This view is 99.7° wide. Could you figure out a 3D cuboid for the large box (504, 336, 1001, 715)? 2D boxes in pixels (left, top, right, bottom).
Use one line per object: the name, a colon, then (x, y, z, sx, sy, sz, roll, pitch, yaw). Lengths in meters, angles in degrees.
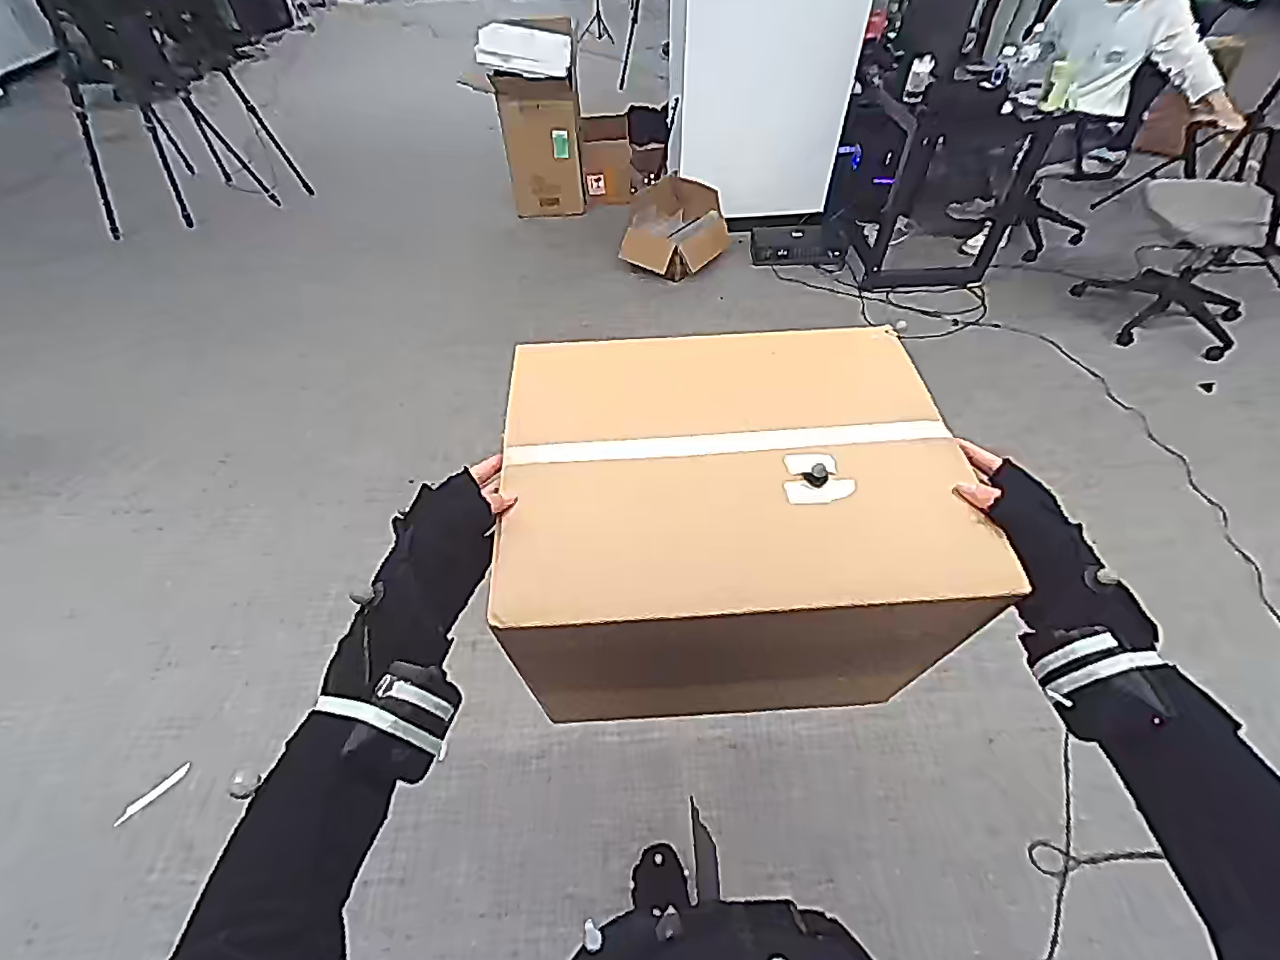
large box: (0.080, 0.062, 0.627, 0.408, 0.320, 0.320, -3, 54, -2)
